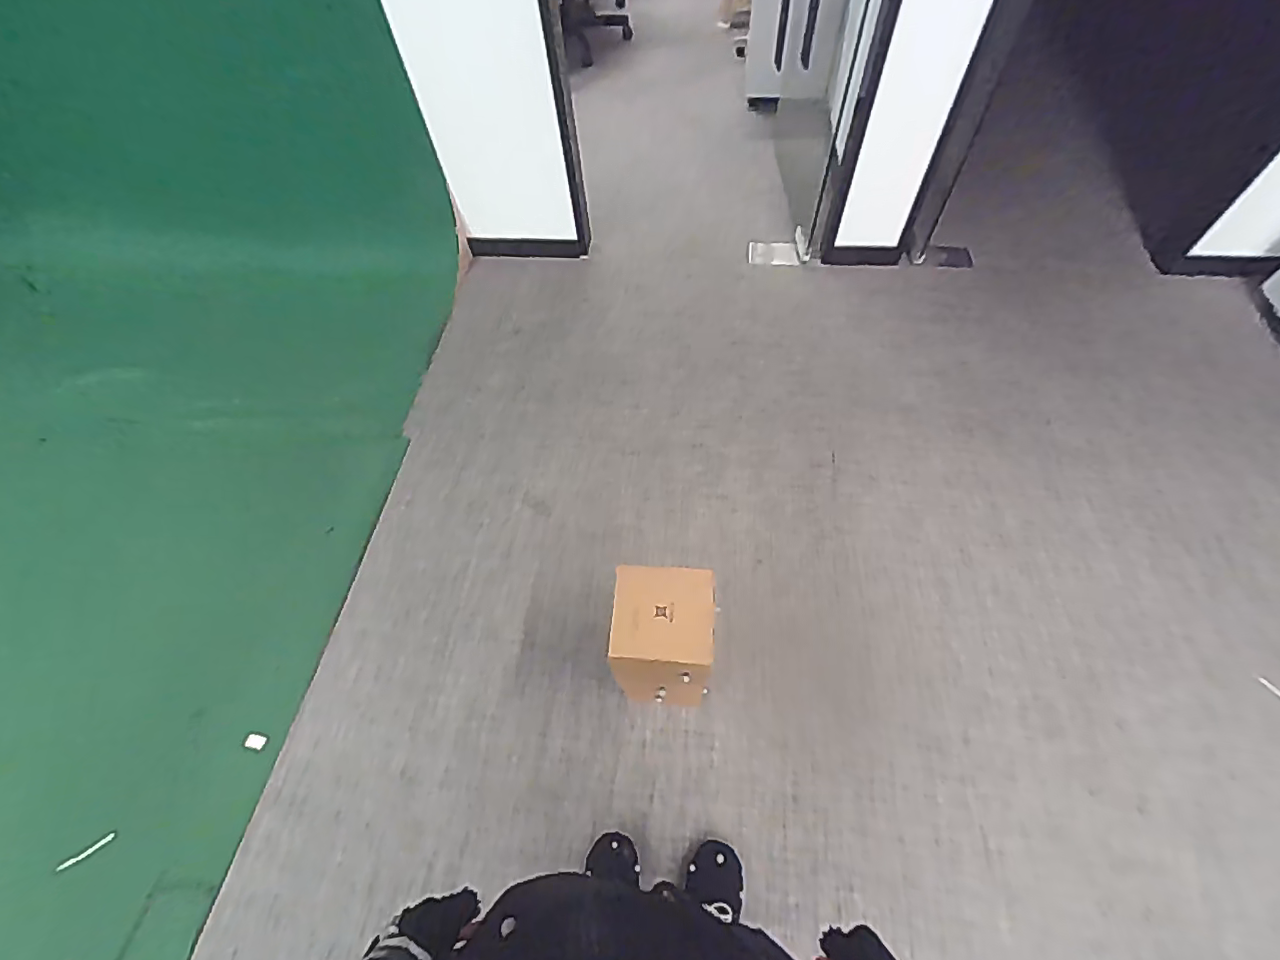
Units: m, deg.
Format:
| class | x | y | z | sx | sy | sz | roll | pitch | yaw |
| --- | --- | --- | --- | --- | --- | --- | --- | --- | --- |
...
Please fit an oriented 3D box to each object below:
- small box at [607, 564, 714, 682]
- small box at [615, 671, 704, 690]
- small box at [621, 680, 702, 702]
| class | x | y | z | sx | sy | sz | roll | pitch | yaw |
| --- | --- | --- | --- | --- | --- | --- | --- | --- | --- |
| small box | 0.043 | 0.266 | 0.991 | 0.179 | 0.176 | 0.168 | 1 | 58 | 6 |
| small box | 0.046 | 0.339 | 1.137 | 0.179 | 0.176 | 0.168 | 2 | 59 | 5 |
| small box | 0.058 | 0.421 | 1.278 | 0.179 | 0.176 | 0.168 | 4 | 59 | 7 |
